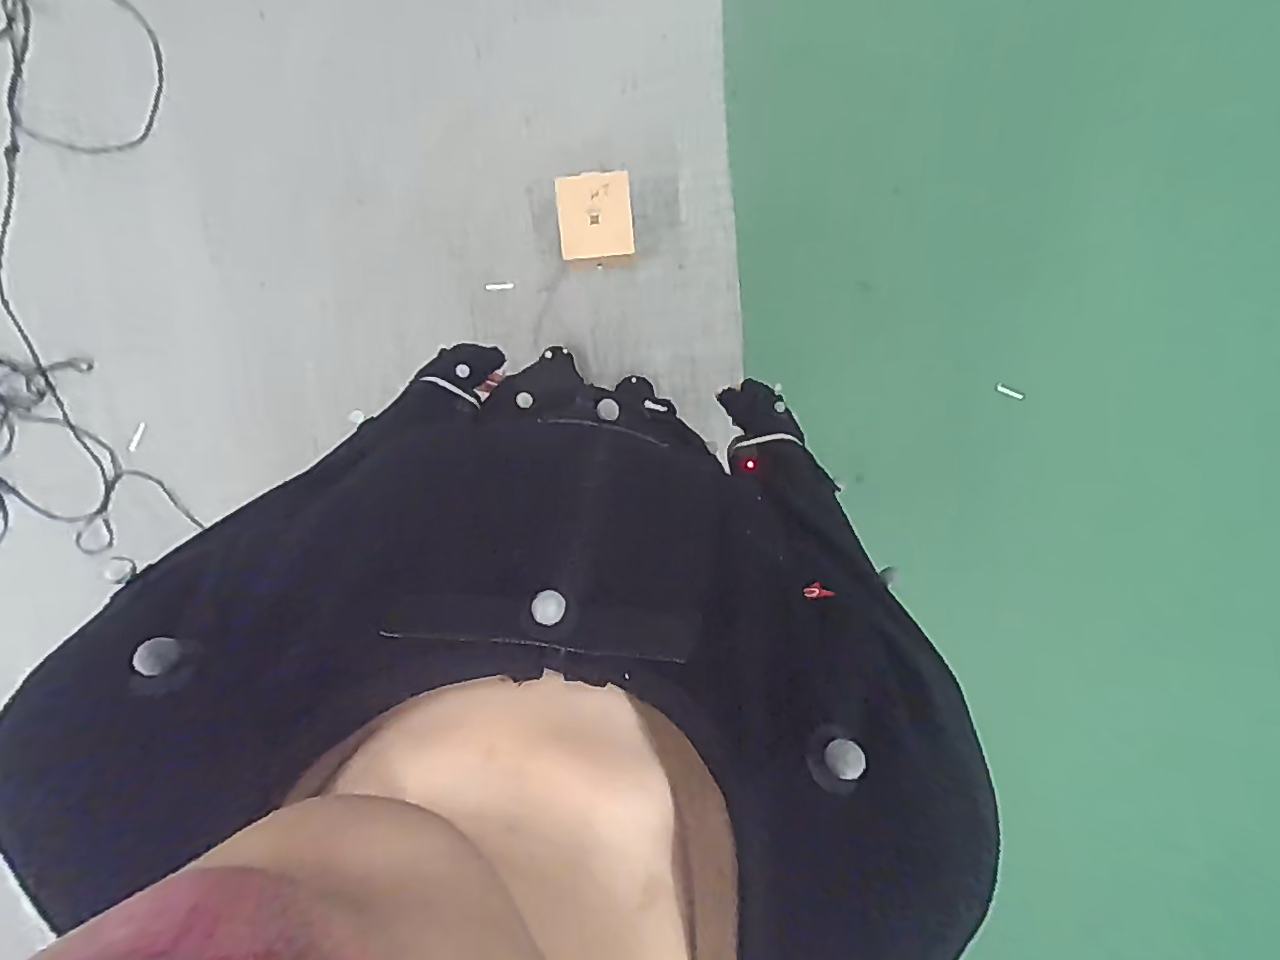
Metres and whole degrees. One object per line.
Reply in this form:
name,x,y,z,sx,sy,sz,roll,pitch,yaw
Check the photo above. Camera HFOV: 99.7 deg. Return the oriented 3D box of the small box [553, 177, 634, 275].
small box,-0.104,-0.588,1.278,0.168,0.176,0.179,-5,101,1
